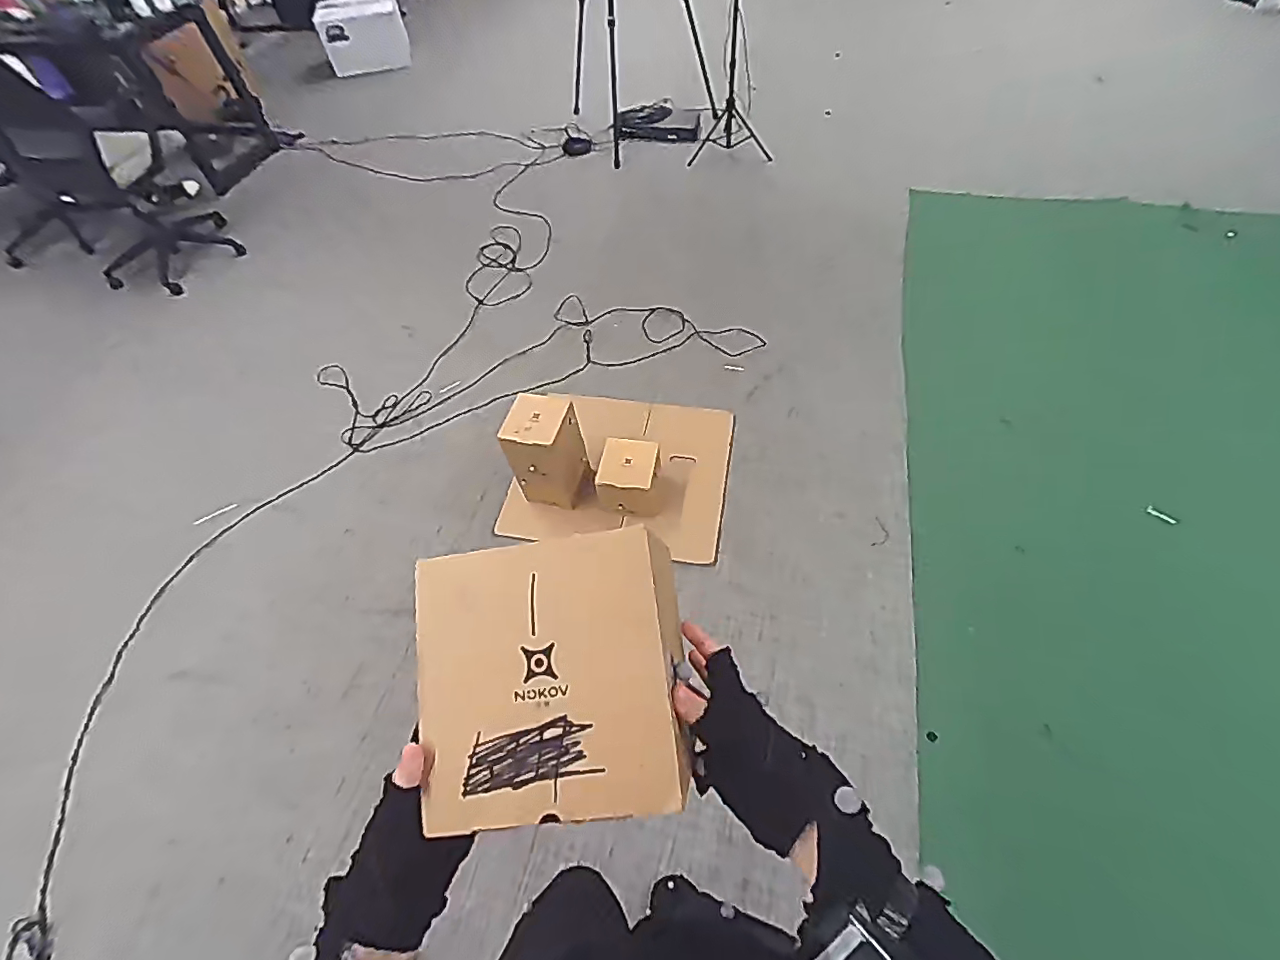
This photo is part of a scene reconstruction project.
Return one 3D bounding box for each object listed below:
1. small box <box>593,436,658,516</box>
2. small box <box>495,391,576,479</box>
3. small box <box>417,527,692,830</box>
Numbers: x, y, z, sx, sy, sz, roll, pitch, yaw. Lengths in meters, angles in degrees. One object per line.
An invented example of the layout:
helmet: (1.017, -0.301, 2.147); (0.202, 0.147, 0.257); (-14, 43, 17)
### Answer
small box: (-0.038, -0.012, 1.673); (0.168, 0.176, 0.179); (6, 57, 8)
small box: (-0.293, -0.129, 1.573); (0.168, 0.176, 0.179); (9, 57, 12)
small box: (-0.054, 0.142, 0.427); (0.168, 0.176, 0.179); (-9, 76, 6)
